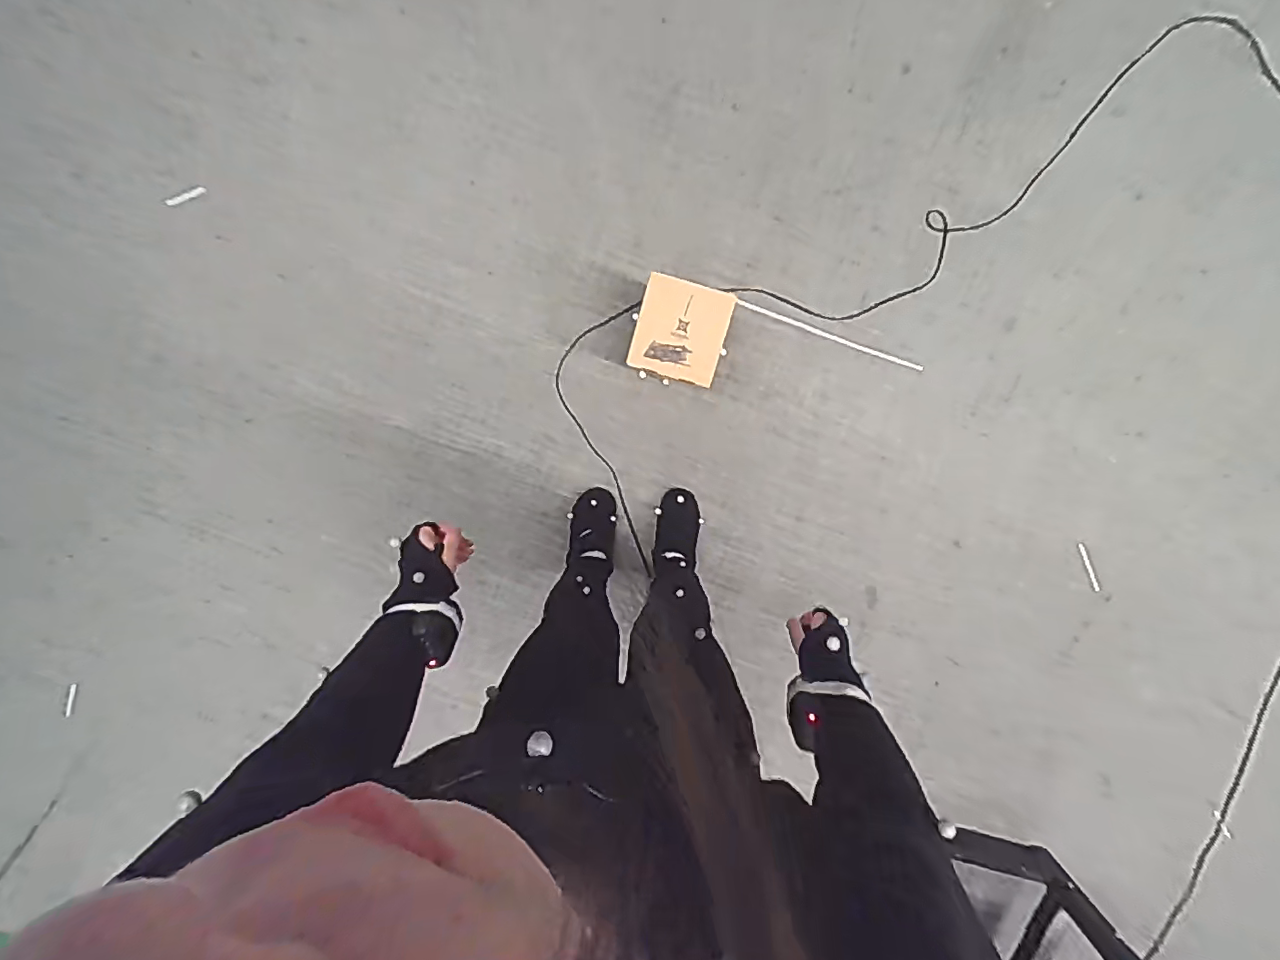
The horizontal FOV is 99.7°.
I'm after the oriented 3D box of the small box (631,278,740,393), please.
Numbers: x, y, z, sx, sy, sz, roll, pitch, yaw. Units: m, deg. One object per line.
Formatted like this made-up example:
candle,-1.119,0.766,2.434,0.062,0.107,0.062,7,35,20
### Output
small box,0.089,-0.281,1.086,0.168,0.176,0.179,16,99,0
